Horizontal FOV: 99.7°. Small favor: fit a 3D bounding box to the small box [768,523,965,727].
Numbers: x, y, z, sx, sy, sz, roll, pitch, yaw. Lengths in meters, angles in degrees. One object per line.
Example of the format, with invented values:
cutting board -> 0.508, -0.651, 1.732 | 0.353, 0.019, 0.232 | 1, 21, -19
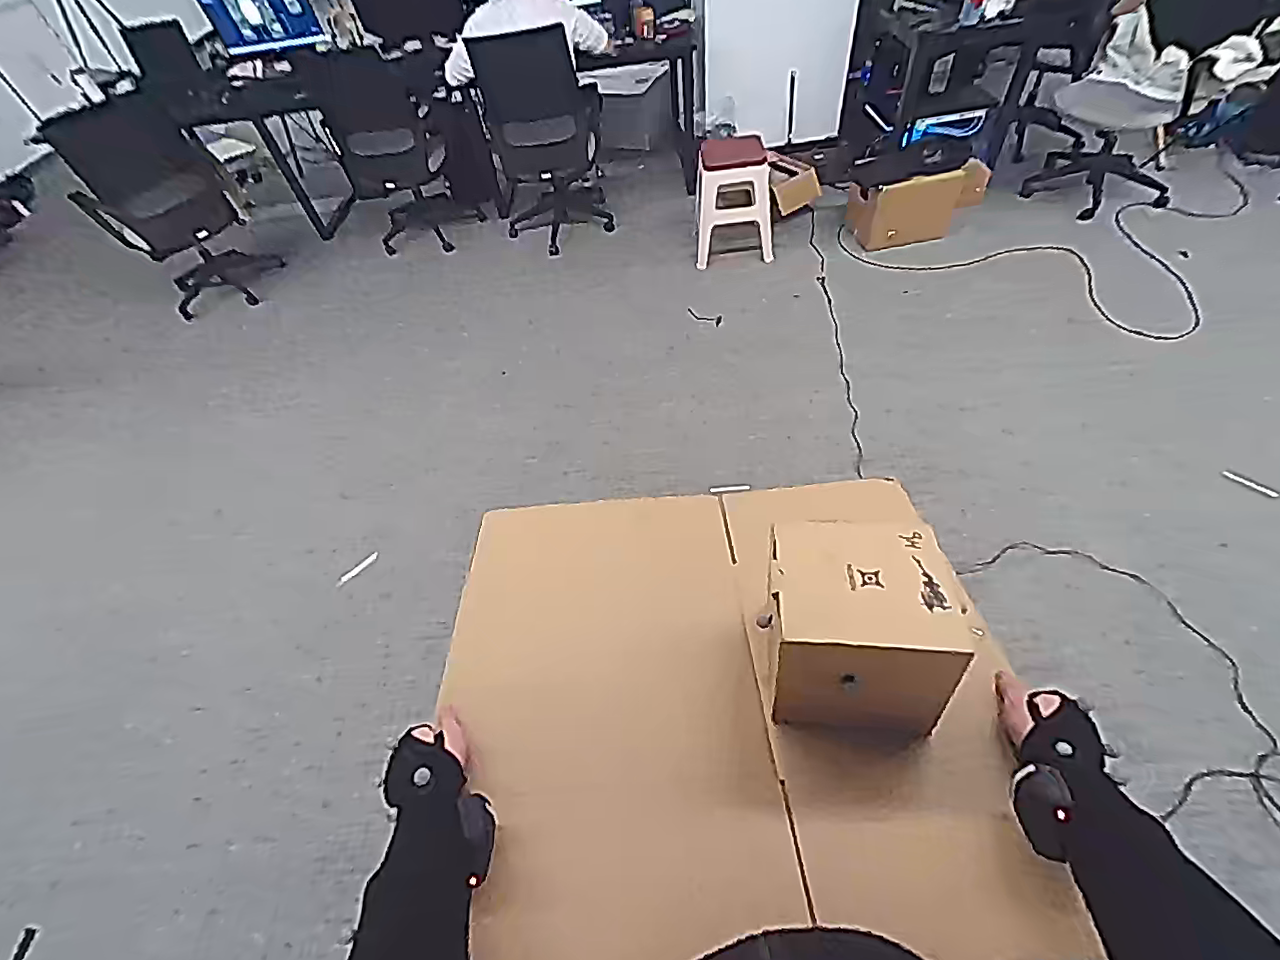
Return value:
small box -> 0.241, 0.167, 0.627 | 0.179, 0.176, 0.168 | 0, 42, 11
